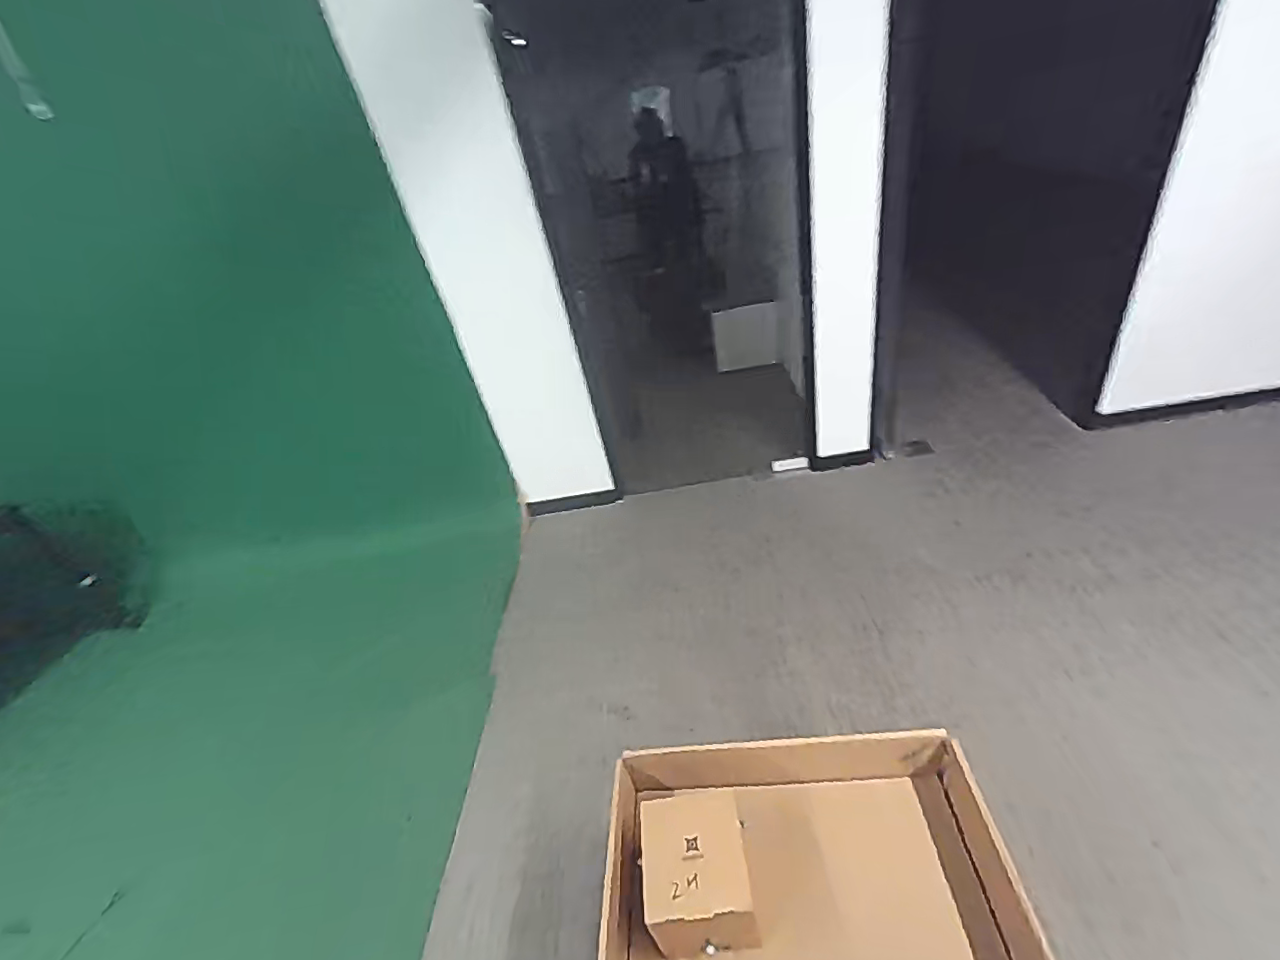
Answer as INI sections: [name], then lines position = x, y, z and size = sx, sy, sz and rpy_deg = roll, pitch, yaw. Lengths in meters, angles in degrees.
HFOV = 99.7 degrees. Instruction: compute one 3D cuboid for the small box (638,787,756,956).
[small box]
position = 0.092, 0.650, 0.900
size = 0.168, 0.176, 0.179
rpy_deg = -11, 34, 6
